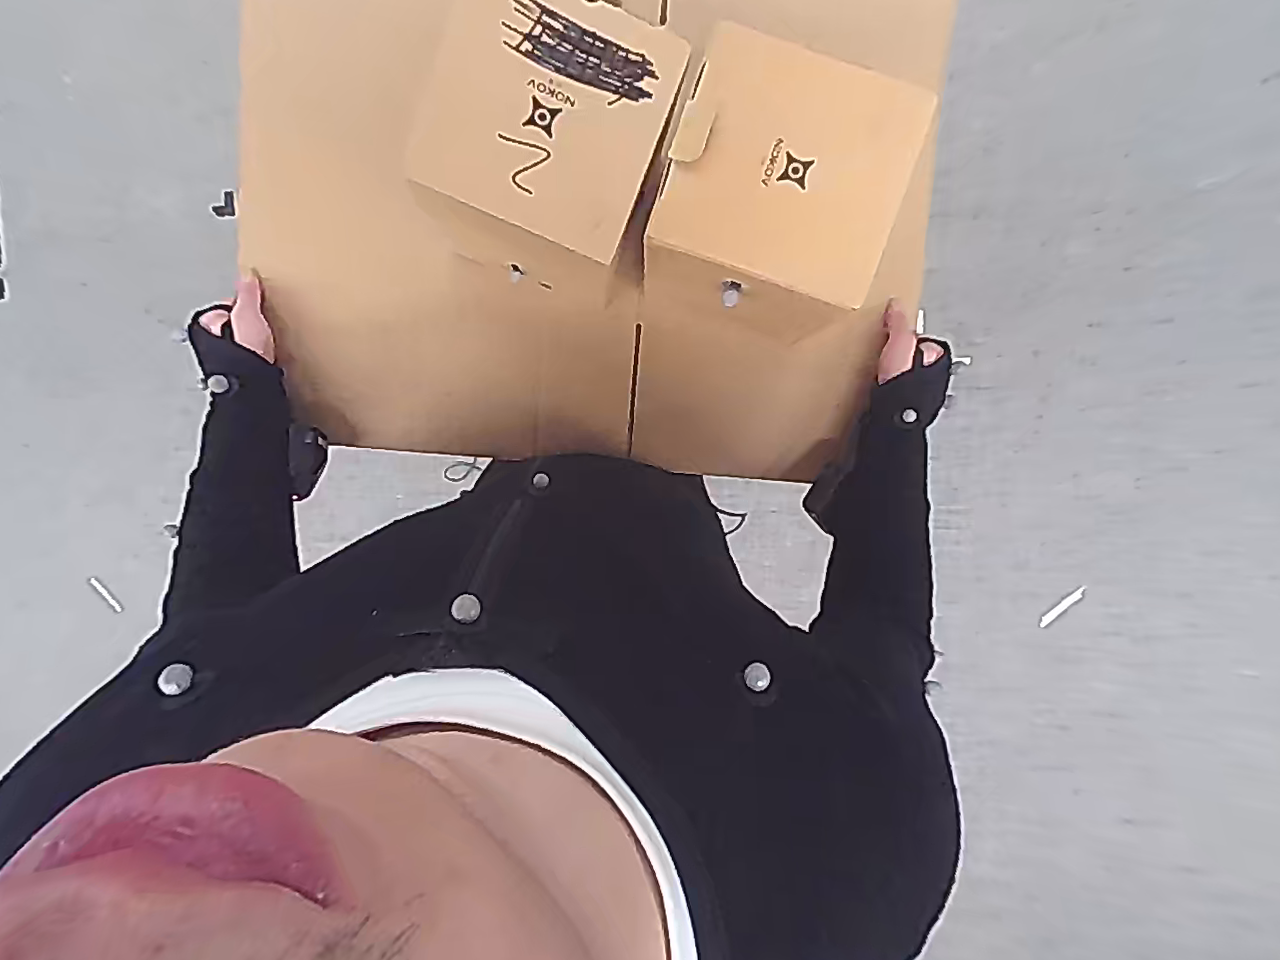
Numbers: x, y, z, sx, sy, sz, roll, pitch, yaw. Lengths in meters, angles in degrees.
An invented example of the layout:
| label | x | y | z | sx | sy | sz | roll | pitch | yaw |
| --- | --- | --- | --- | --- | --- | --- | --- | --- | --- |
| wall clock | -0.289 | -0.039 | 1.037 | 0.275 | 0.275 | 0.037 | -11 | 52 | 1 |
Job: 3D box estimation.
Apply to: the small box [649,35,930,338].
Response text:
| label | x | y | z | sx | sy | sz | roll | pitch | yaw |
| --- | --- | --- | --- | --- | --- | --- | --- | --- | --- |
| small box | 0.117 | -0.242 | 0.497 | 0.179 | 0.176 | 0.168 | 19 | 94 | 0 |
